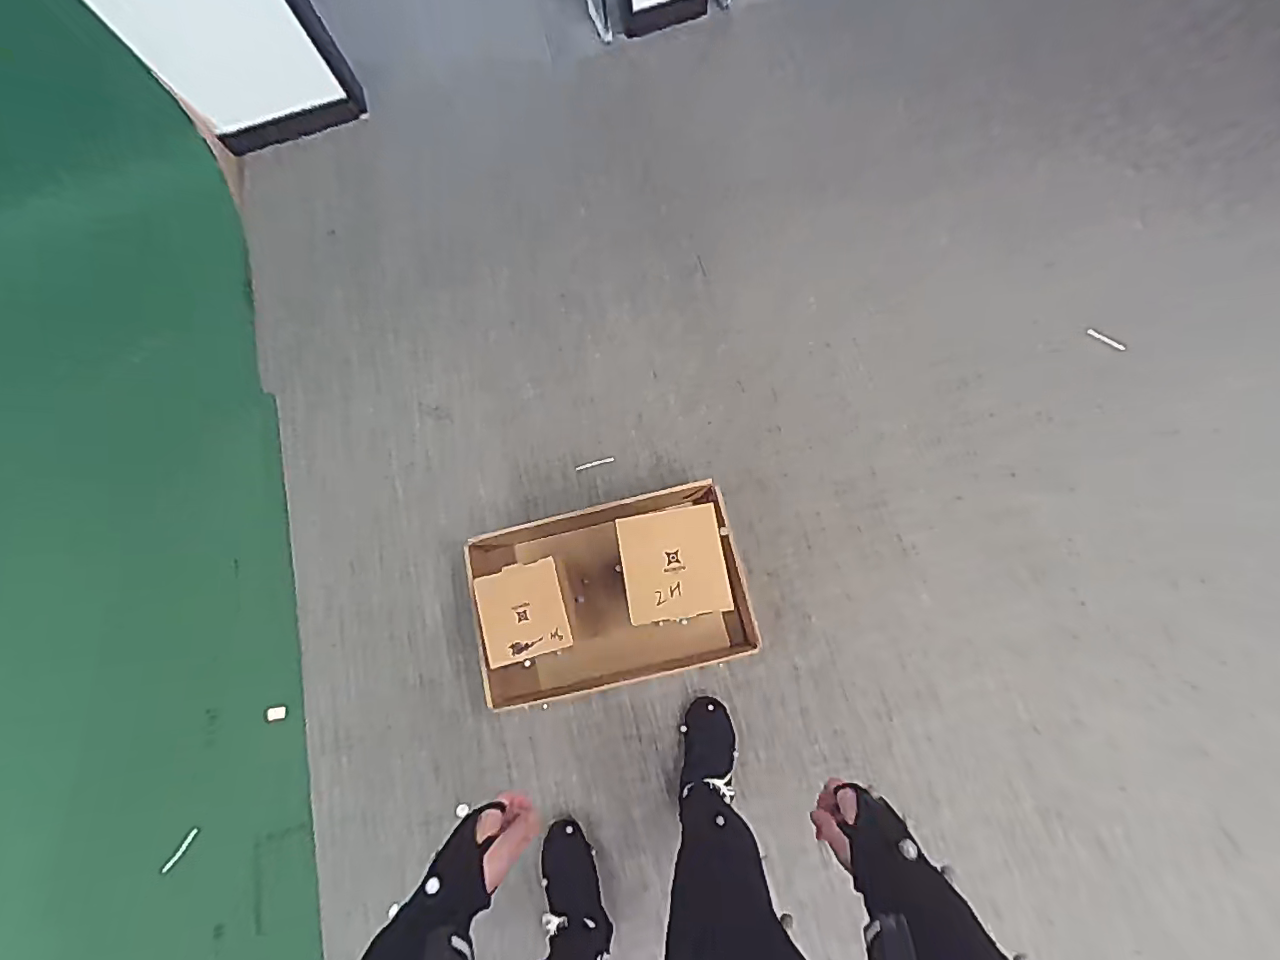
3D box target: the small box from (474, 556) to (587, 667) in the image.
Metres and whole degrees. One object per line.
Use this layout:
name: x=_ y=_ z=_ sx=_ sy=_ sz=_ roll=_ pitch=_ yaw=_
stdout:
small box: x=-0.217 y=0.269 z=1.103 sx=0.168 sy=0.176 sz=0.179 roll=-16 pitch=75 yaw=2

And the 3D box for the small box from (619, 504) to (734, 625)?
small box: x=0.060 y=0.152 z=0.942 sx=0.168 sy=0.176 sz=0.179 roll=-9 pitch=77 yaw=2
